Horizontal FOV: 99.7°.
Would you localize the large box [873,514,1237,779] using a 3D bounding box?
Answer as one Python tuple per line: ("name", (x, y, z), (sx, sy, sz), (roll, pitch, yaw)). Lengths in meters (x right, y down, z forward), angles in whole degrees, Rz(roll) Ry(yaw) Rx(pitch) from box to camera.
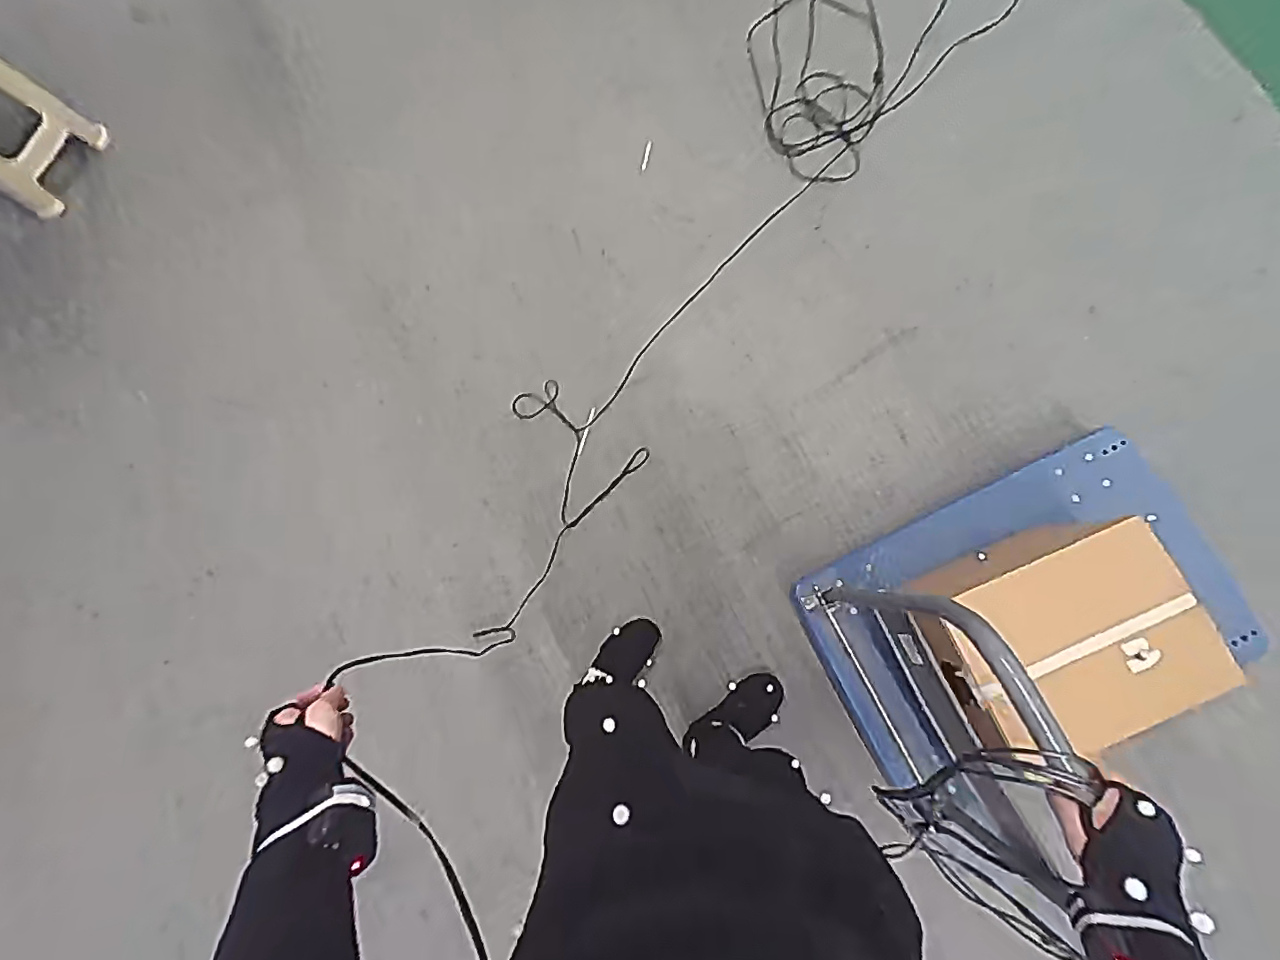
("large box", (0.757, 0.302, 1.061), (0.408, 0.320, 0.320), (-24, 81, -1))
